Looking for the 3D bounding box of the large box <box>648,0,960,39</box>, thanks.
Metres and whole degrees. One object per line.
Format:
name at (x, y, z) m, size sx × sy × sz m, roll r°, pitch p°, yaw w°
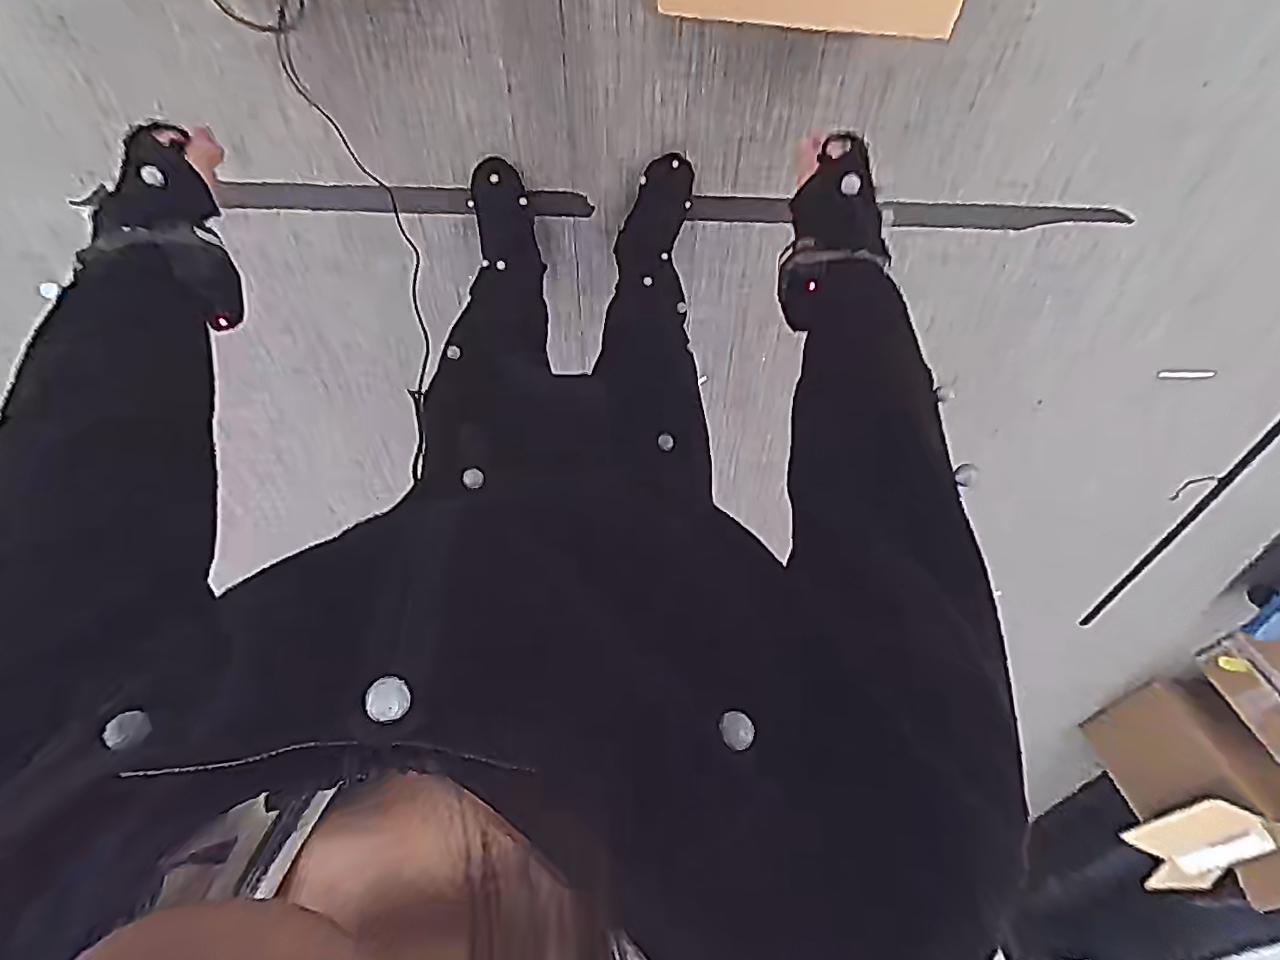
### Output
large box at (0.227, -0.823, 0.741) m, size 0.408 × 0.320 × 0.320 m, roll 1°, pitch 132°, yaw -5°
